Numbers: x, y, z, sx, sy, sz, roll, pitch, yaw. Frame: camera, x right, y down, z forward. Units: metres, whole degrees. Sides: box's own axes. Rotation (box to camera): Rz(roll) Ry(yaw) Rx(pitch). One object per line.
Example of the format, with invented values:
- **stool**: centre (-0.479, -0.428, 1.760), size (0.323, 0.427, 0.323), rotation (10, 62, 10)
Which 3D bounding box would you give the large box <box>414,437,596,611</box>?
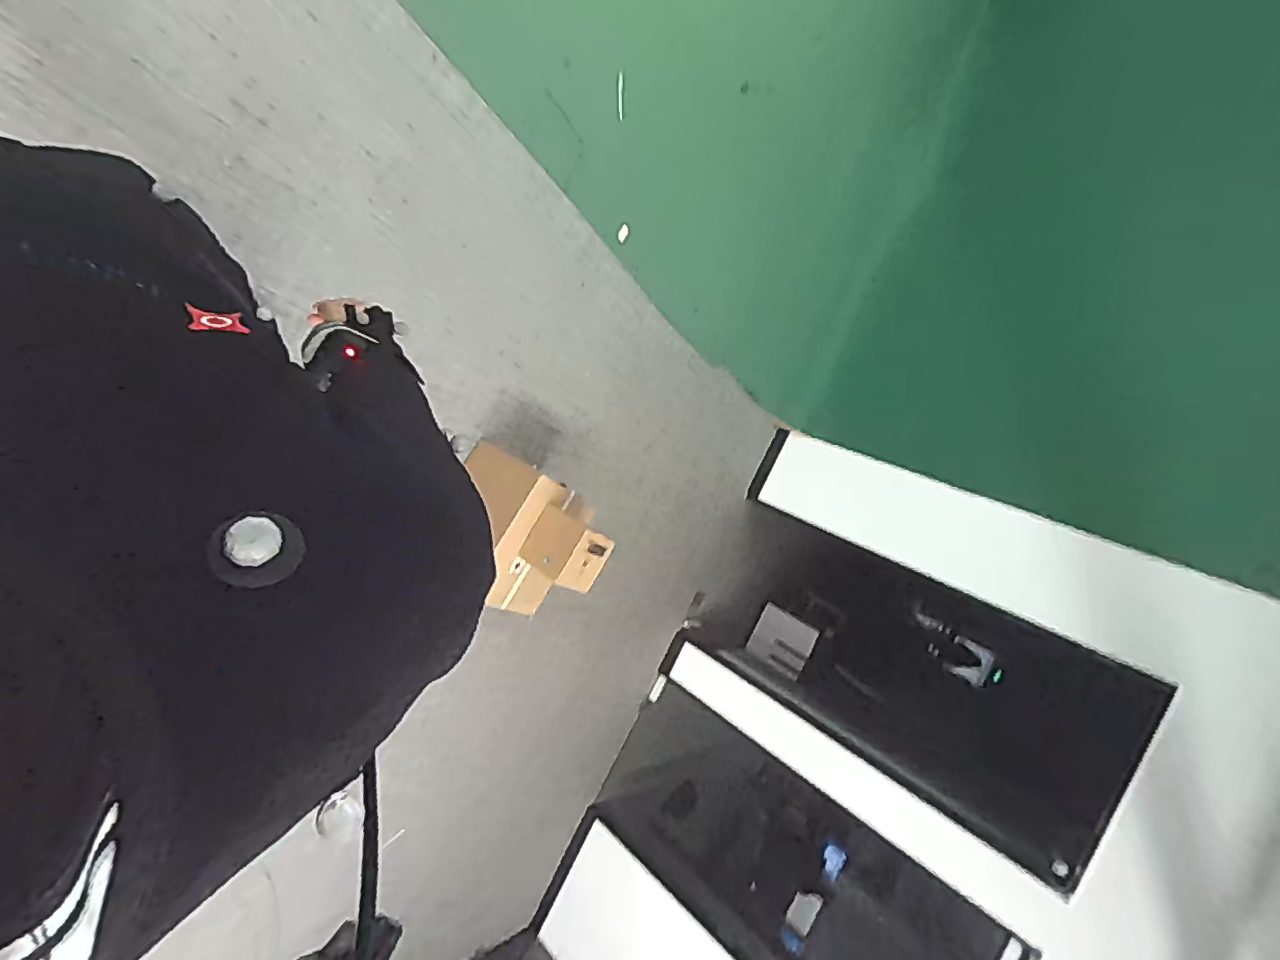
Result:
- **large box**: centre (-0.416, 0.139, 1.696), size (0.408, 0.320, 0.320), rotation (-58, 144, -5)
